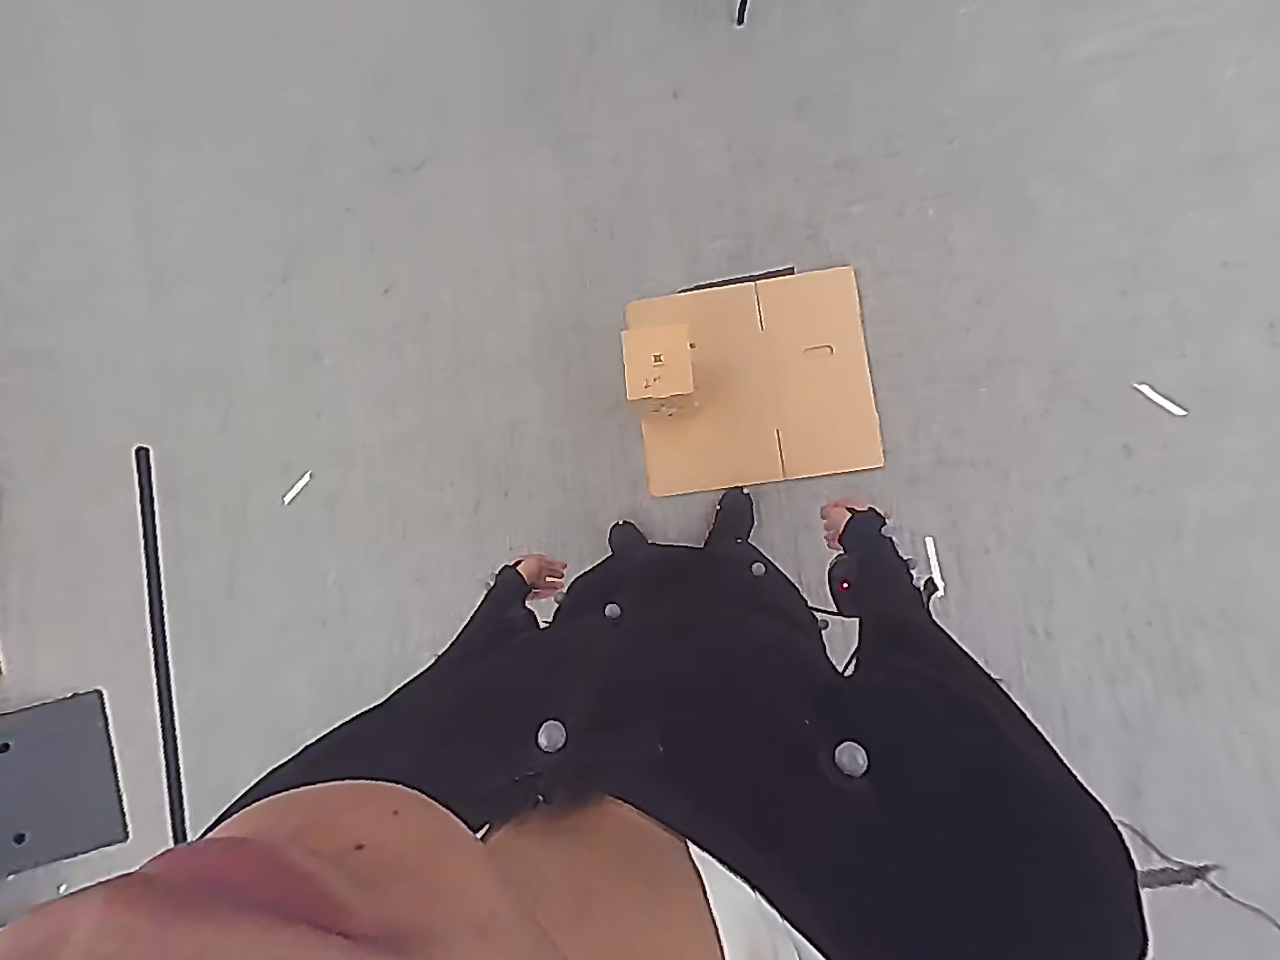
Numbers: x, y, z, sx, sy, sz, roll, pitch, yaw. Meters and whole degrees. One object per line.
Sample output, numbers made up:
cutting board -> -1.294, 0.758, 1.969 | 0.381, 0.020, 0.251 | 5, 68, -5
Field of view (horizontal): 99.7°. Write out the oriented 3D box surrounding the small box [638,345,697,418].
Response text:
small box -> 0.077, -0.275, 1.549 | 0.168, 0.176, 0.179 | -6, 88, 5

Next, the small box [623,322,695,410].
small box -> 0.051, -0.286, 1.386 | 0.168, 0.176, 0.179 | -5, 88, 5
